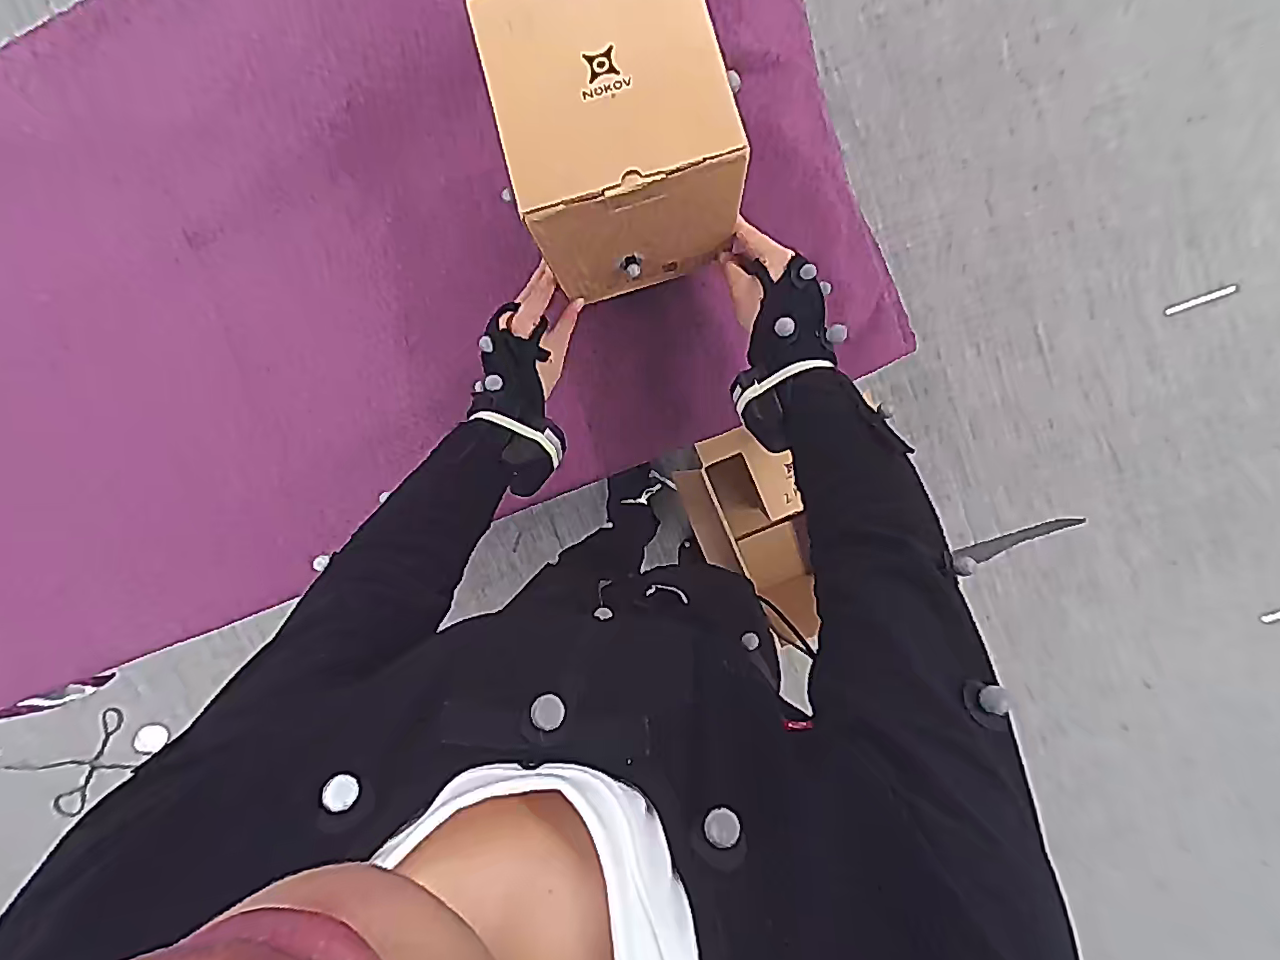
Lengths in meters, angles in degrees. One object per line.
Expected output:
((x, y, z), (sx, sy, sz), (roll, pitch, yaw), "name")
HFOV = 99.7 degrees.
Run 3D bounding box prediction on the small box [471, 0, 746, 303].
((-0.019, -0.281, 0.461), (0.168, 0.176, 0.179), (-15, 85, 4), "small box")
